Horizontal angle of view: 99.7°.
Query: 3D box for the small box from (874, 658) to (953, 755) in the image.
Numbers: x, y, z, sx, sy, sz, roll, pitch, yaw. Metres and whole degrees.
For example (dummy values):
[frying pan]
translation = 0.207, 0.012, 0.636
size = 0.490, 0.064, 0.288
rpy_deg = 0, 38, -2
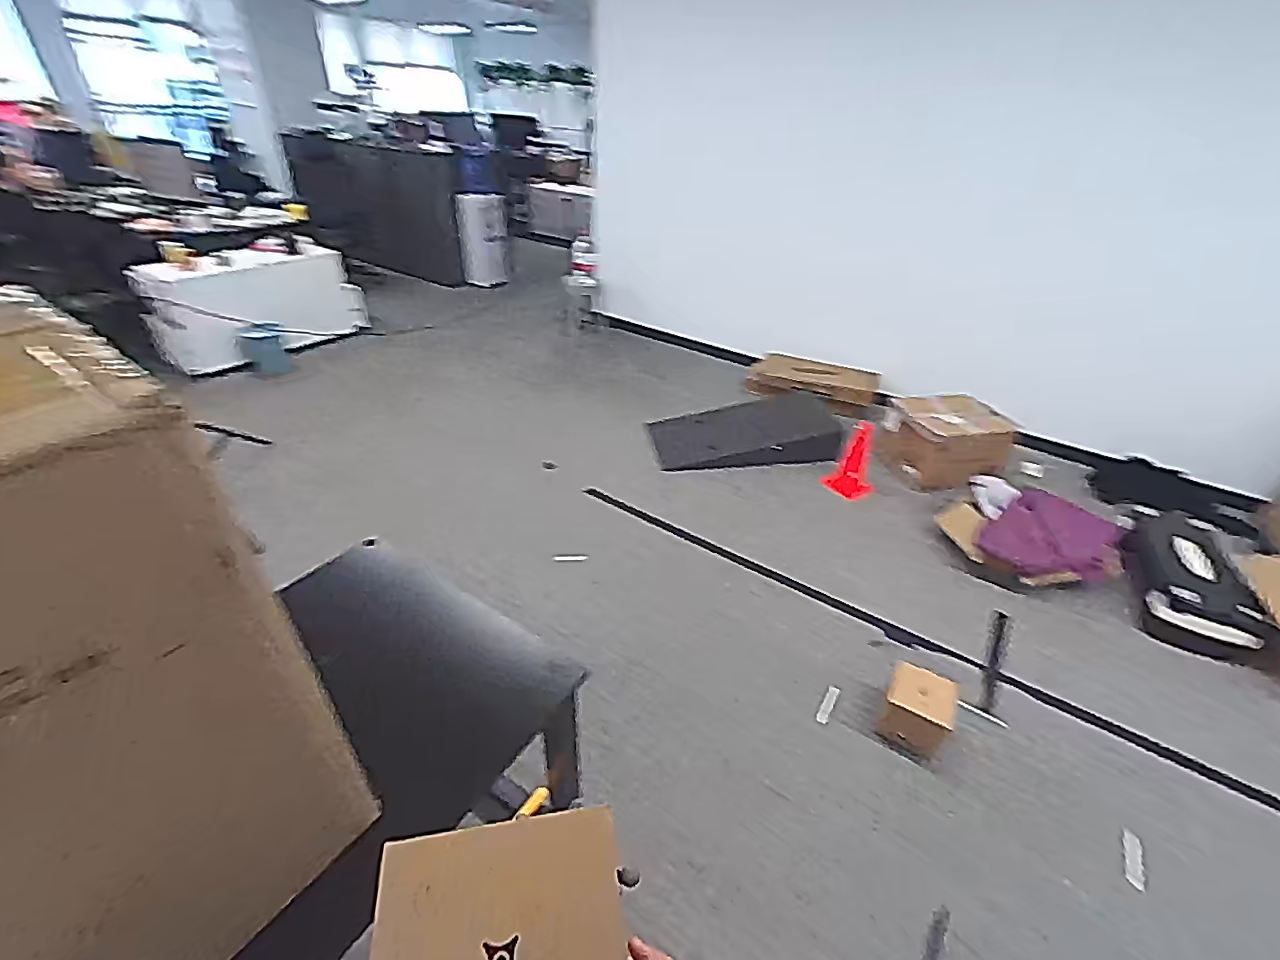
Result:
[small box]
translation = 0.826, 0.686, 1.639
size = 0.168, 0.176, 0.179
rpy_deg = 19, 39, 24
